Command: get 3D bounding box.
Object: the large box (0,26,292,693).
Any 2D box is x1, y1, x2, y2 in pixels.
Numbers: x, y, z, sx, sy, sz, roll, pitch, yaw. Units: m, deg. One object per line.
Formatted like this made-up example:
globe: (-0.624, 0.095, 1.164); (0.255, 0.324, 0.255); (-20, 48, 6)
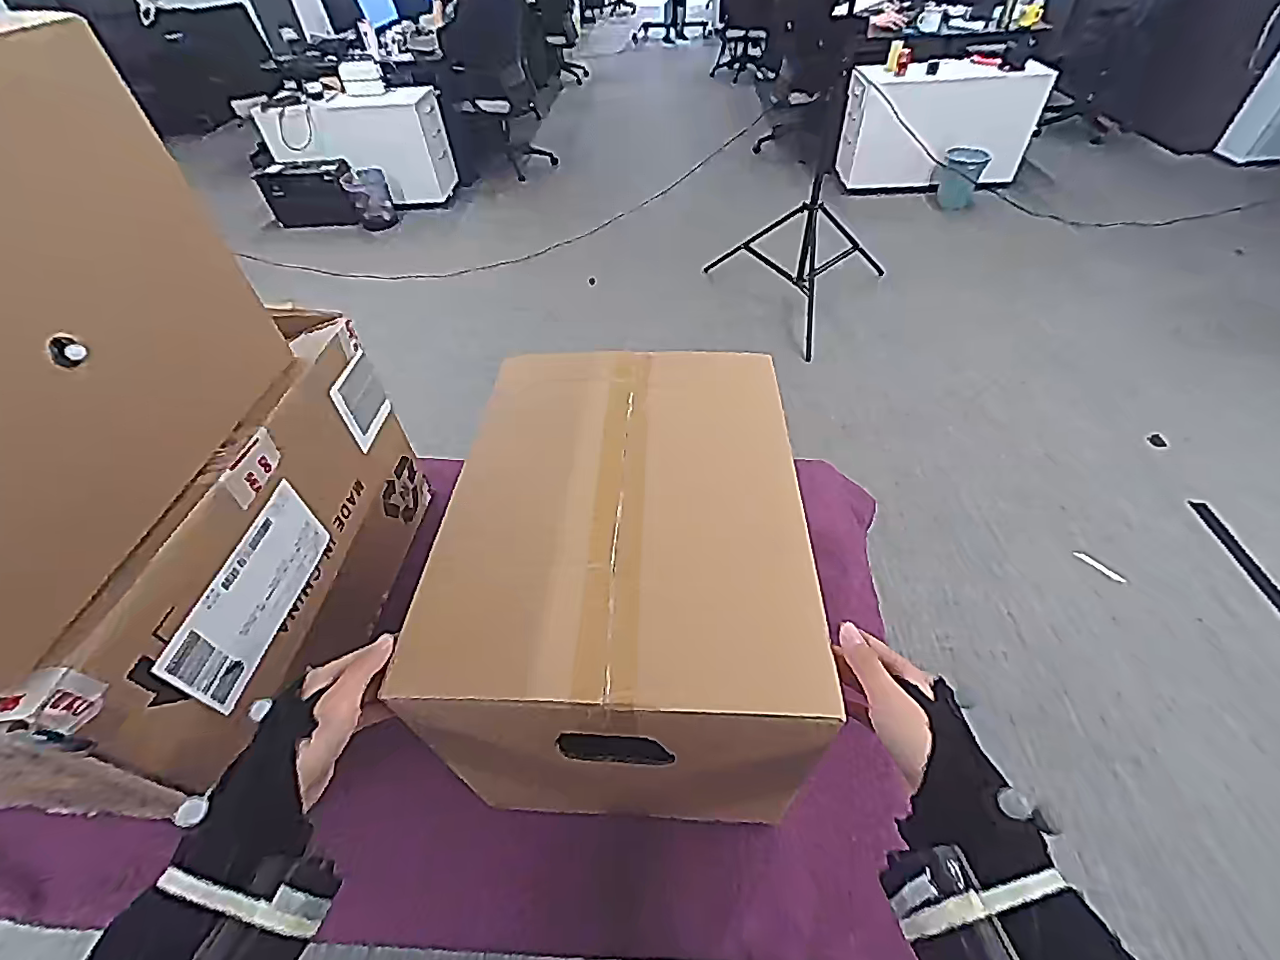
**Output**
large box: (-0.564, -0.099, 0.403); (0.320, 0.320, 0.408); (-1, 48, 5)
